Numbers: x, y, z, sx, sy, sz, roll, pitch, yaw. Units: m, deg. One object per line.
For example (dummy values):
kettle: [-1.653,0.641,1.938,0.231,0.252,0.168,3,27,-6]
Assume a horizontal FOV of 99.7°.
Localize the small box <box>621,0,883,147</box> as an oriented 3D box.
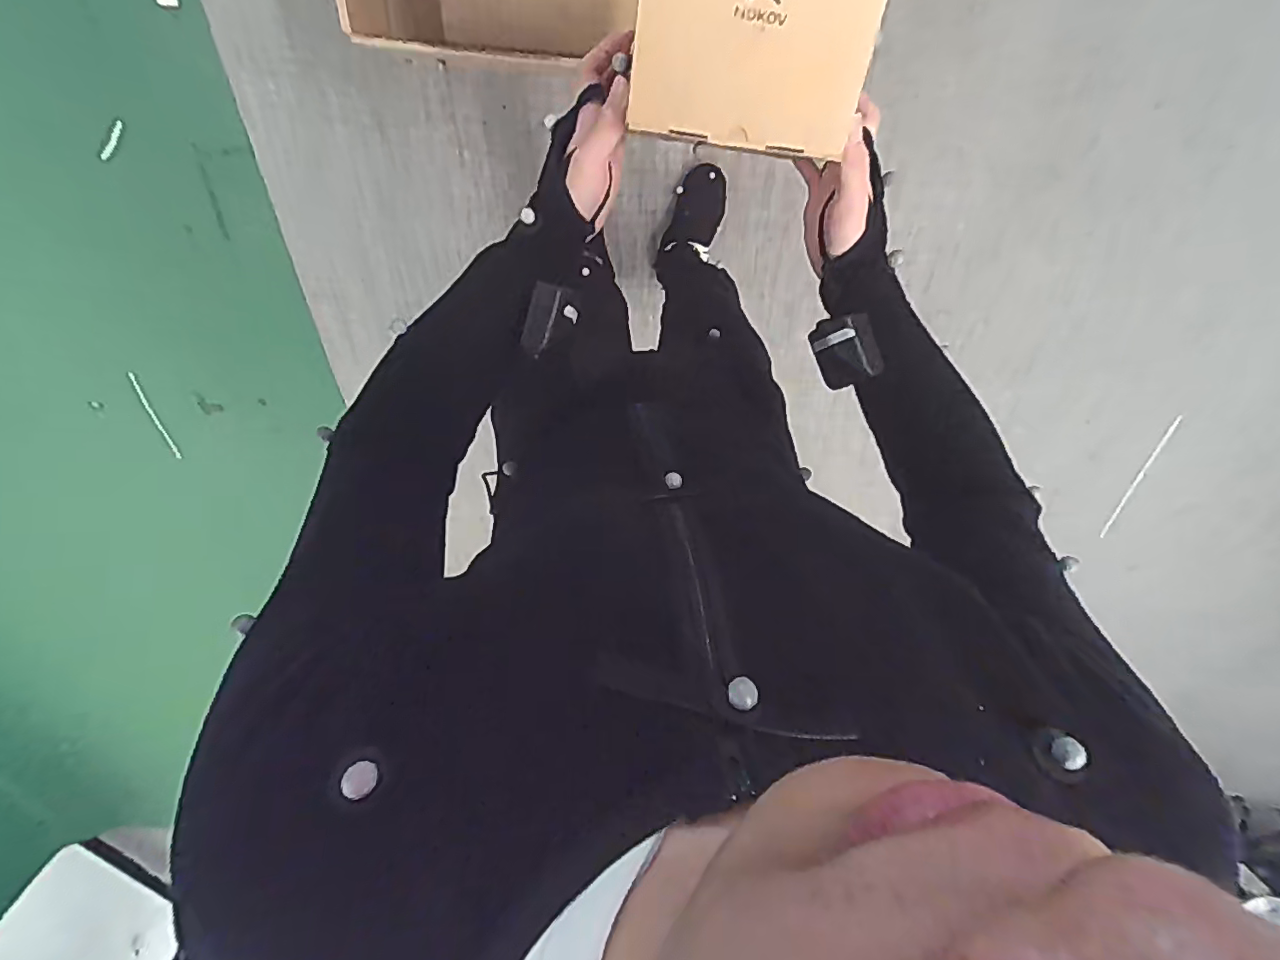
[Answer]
small box: [0.075,-0.366,0.410,0.168,0.176,0.179,5,122,-5]
